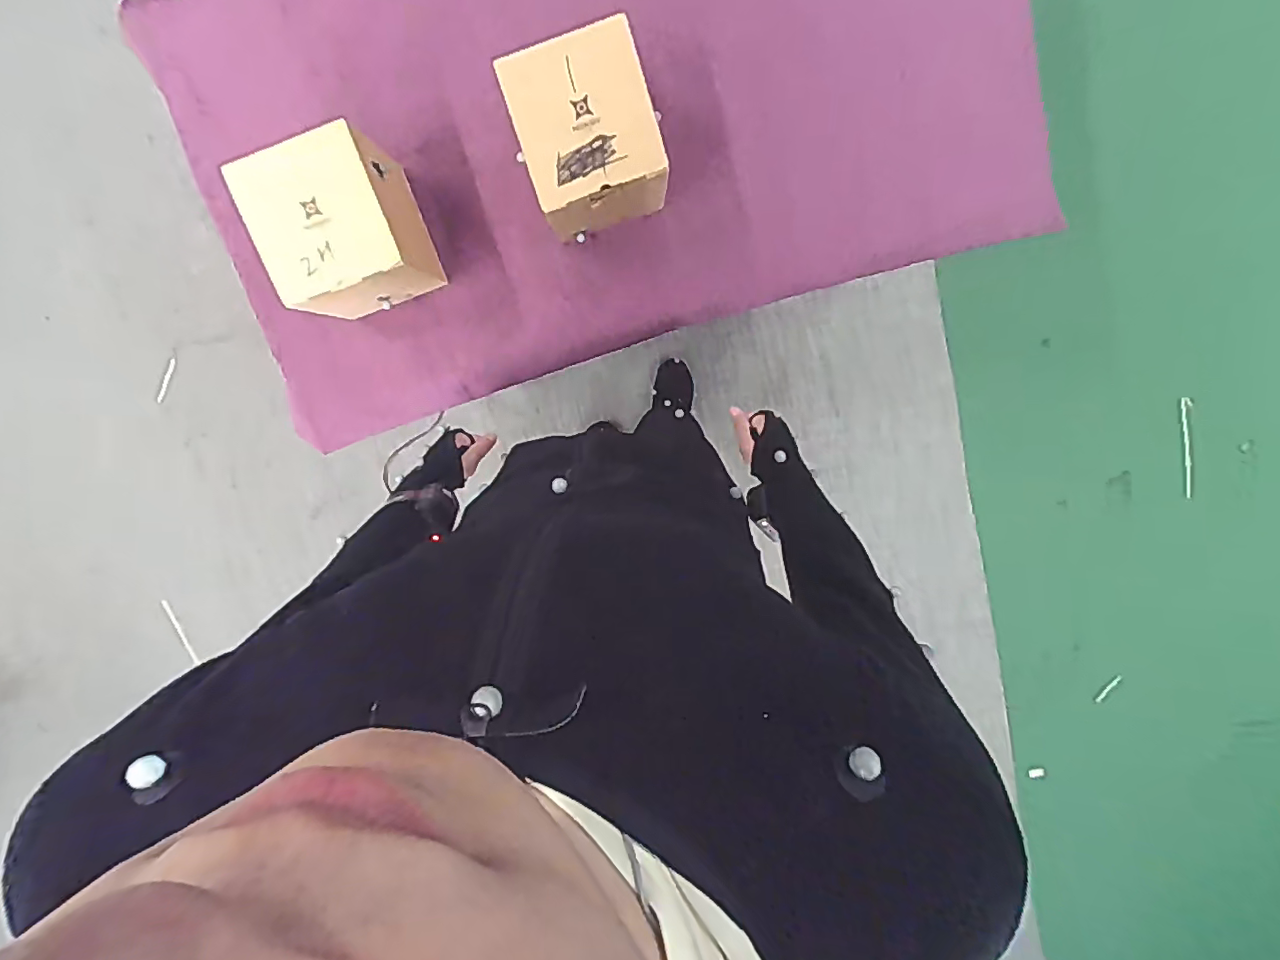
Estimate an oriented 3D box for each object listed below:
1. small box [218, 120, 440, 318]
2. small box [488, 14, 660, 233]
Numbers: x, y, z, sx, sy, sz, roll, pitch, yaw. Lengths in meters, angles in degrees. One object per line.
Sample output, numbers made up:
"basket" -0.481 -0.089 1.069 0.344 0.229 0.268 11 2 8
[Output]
"small box" -0.403 -0.337 0.737 0.168 0.176 0.179 -19 102 3
"small box" -0.076 -0.448 0.719 0.168 0.176 0.179 -18 101 3
